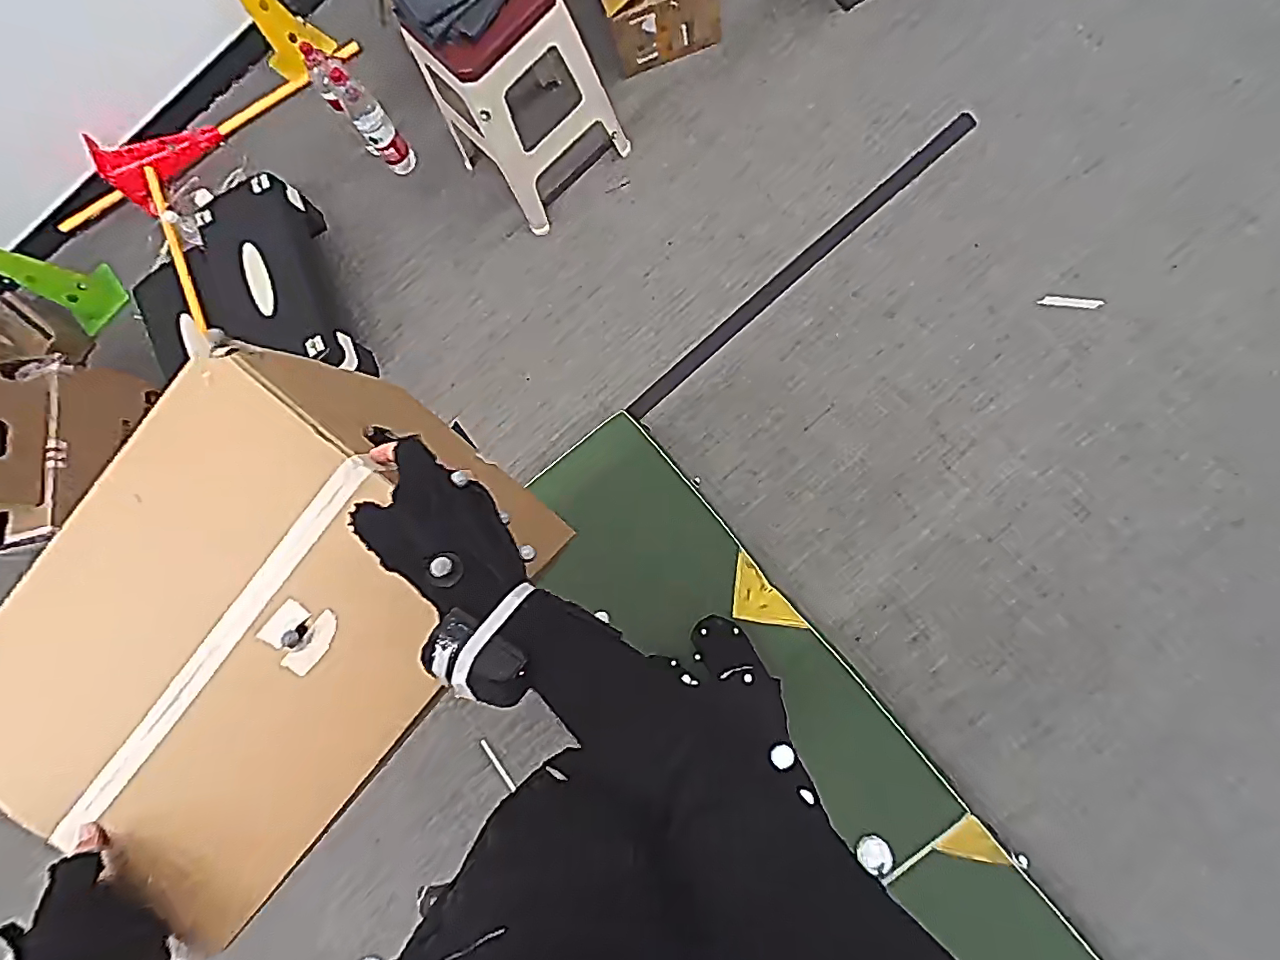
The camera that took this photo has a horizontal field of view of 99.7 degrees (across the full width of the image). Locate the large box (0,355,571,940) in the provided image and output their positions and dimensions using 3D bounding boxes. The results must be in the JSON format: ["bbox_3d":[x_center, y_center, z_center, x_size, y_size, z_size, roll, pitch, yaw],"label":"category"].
[{"bbox_3d":[-0.334,0.142,0.601,0.320,0.320,0.408,40,91,-1],"label":"large box"}]
